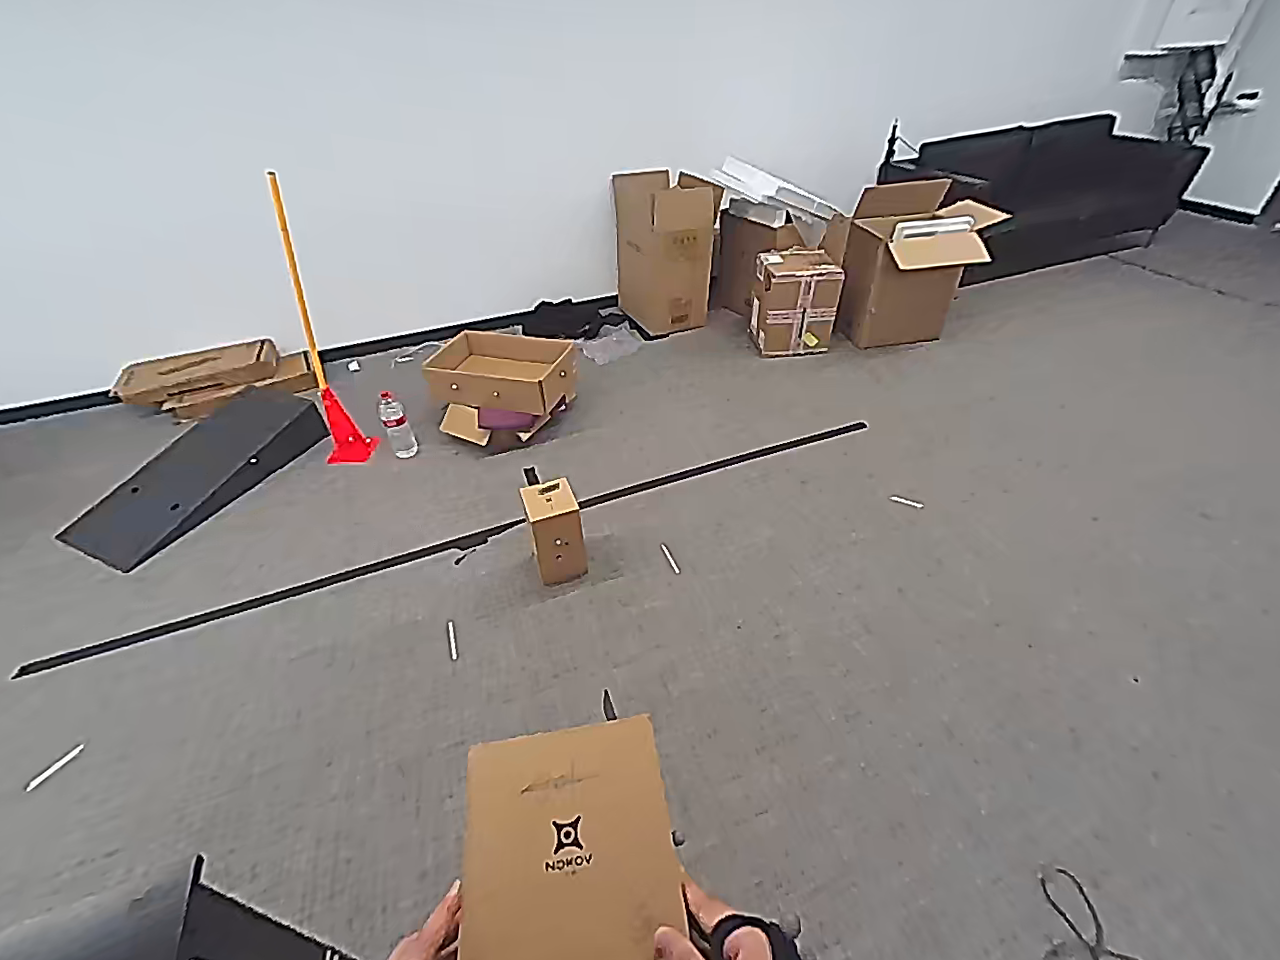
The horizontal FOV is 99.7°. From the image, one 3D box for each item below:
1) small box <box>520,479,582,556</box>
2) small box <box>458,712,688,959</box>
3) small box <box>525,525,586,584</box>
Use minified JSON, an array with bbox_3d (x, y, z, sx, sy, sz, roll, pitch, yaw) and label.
[{"bbox_3d":[-0.305,0.128,1.851,0.168,0.176,0.179,-15,43,-15],"label":"small box"},{"bbox_3d":[-0.057,0.340,0.486,0.168,0.176,0.179,-7,44,-8],"label":"small box"},{"bbox_3d":[-0.305,0.251,1.961,0.179,0.176,0.168,-15,42,-15],"label":"small box"}]
